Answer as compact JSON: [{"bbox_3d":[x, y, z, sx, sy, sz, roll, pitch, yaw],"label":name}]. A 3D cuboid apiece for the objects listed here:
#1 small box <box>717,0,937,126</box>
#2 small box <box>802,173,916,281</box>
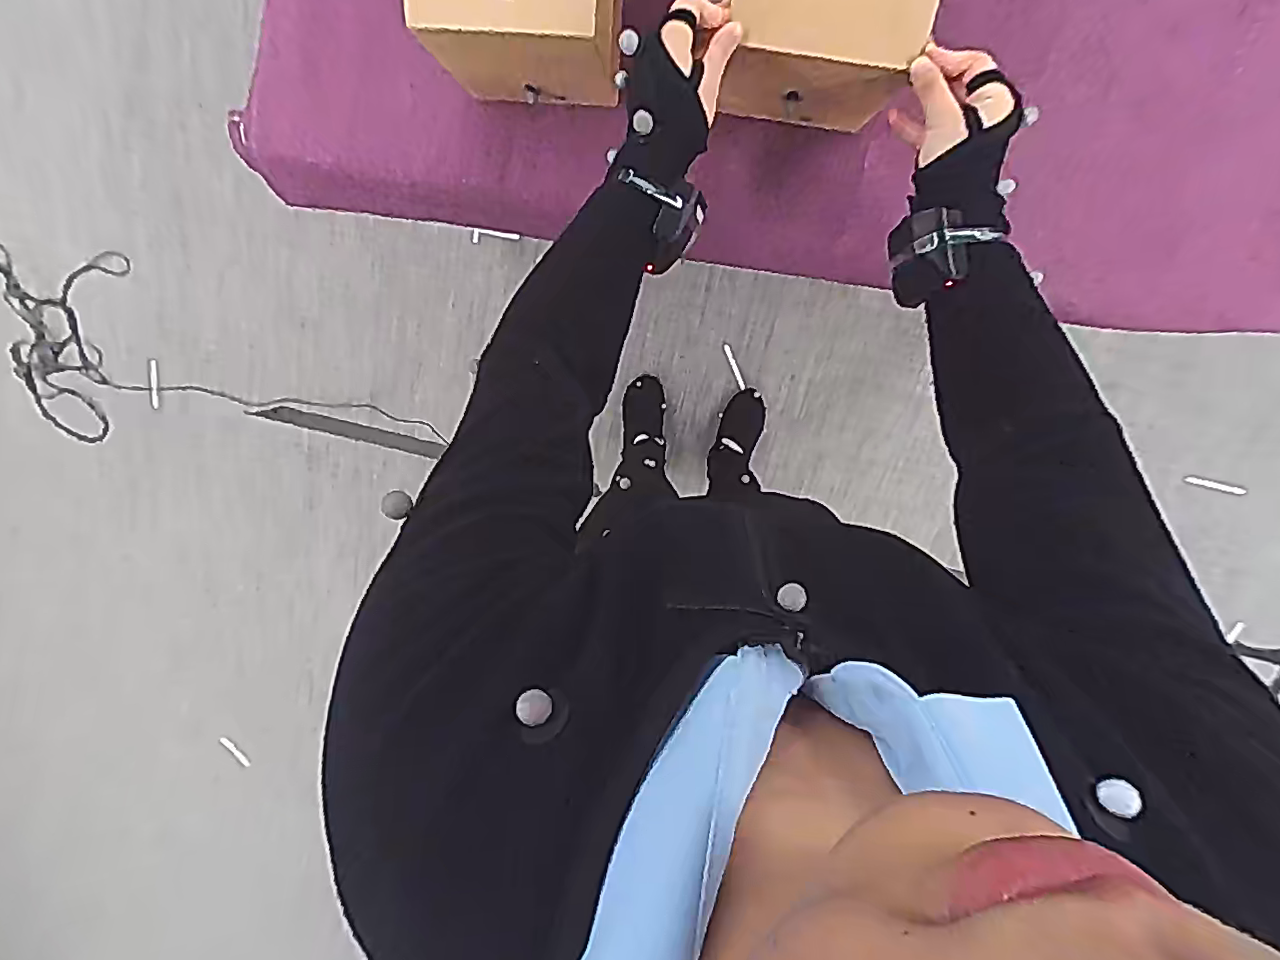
[{"bbox_3d":[0.169,-0.456,0.499,0.168,0.176,0.179,9,108,0],"label":"small box"},{"bbox_3d":[0.477,-0.556,1.214,0.168,0.176,0.179,15,108,0],"label":"small box"}]
